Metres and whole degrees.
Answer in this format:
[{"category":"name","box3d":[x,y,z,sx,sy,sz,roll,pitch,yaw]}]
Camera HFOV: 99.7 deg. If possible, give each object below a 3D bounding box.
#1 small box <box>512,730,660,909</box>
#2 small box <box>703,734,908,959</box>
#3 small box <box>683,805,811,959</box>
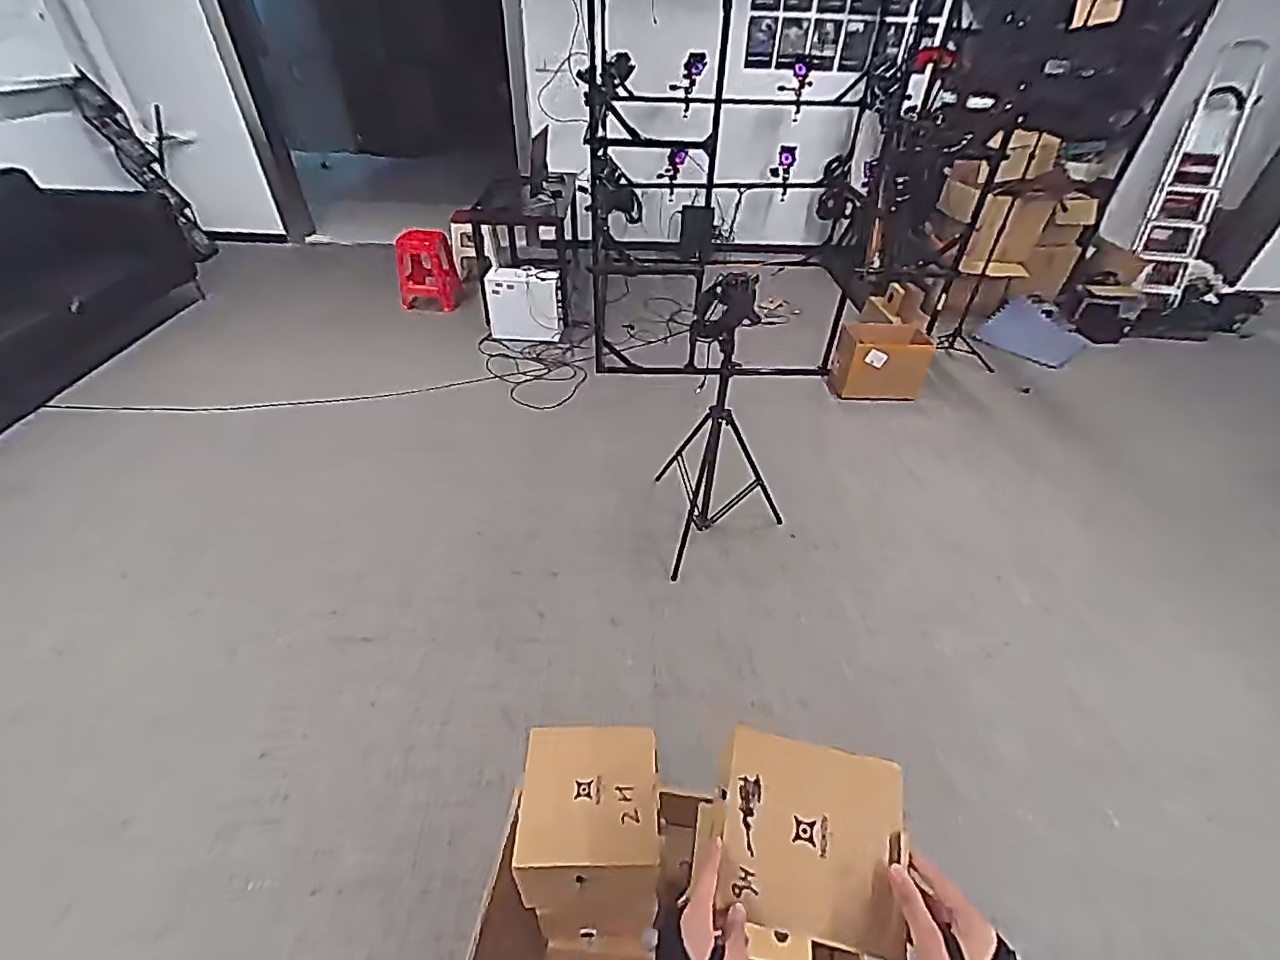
[{"category":"small box","box3d":[-0.065,0.462,0.736,0.179,0.176,0.168,1,39,-2]},{"category":"small box","box3d":[0.172,0.398,0.596,0.179,0.176,0.168,10,57,9]},{"category":"small box","box3d":[0.156,0.626,0.806,0.168,0.176,0.179,7,39,9]}]
